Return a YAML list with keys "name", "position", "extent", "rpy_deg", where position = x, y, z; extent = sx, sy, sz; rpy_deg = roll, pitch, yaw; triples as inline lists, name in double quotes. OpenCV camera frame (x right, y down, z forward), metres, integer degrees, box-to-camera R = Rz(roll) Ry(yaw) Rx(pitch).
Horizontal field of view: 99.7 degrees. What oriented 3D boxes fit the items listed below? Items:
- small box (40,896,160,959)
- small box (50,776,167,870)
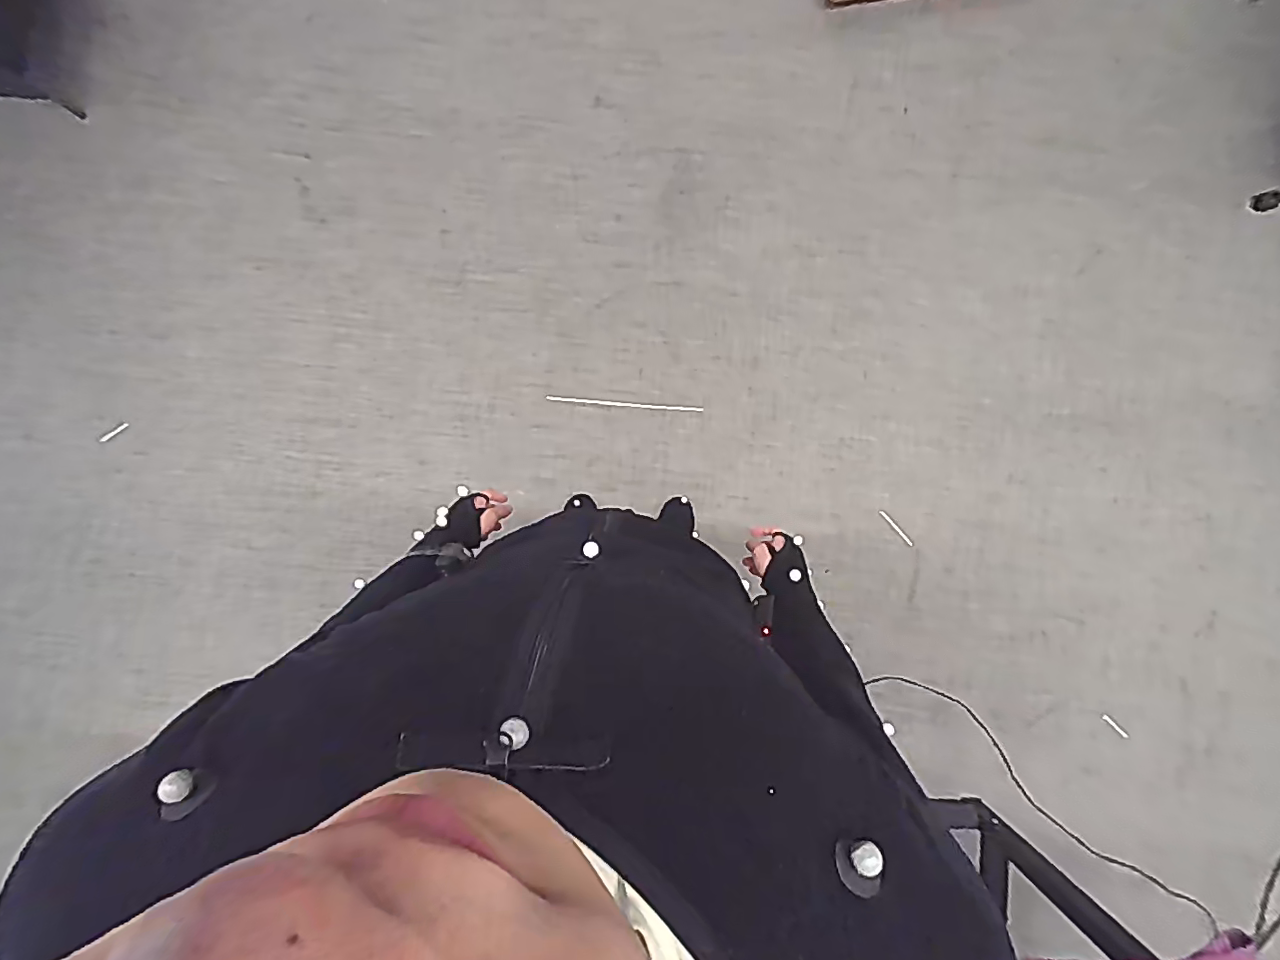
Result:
- name: "small box"
  position: [-1.512, 1.310, 1.515]
  extent: [0.179, 0.176, 0.168]
  rpy_deg: [4, 89, -1]
- name: "small box"
  position: [-1.490, 0.961, 1.527]
  extent: [0.179, 0.176, 0.168]
  rpy_deg: [1, 88, 0]
